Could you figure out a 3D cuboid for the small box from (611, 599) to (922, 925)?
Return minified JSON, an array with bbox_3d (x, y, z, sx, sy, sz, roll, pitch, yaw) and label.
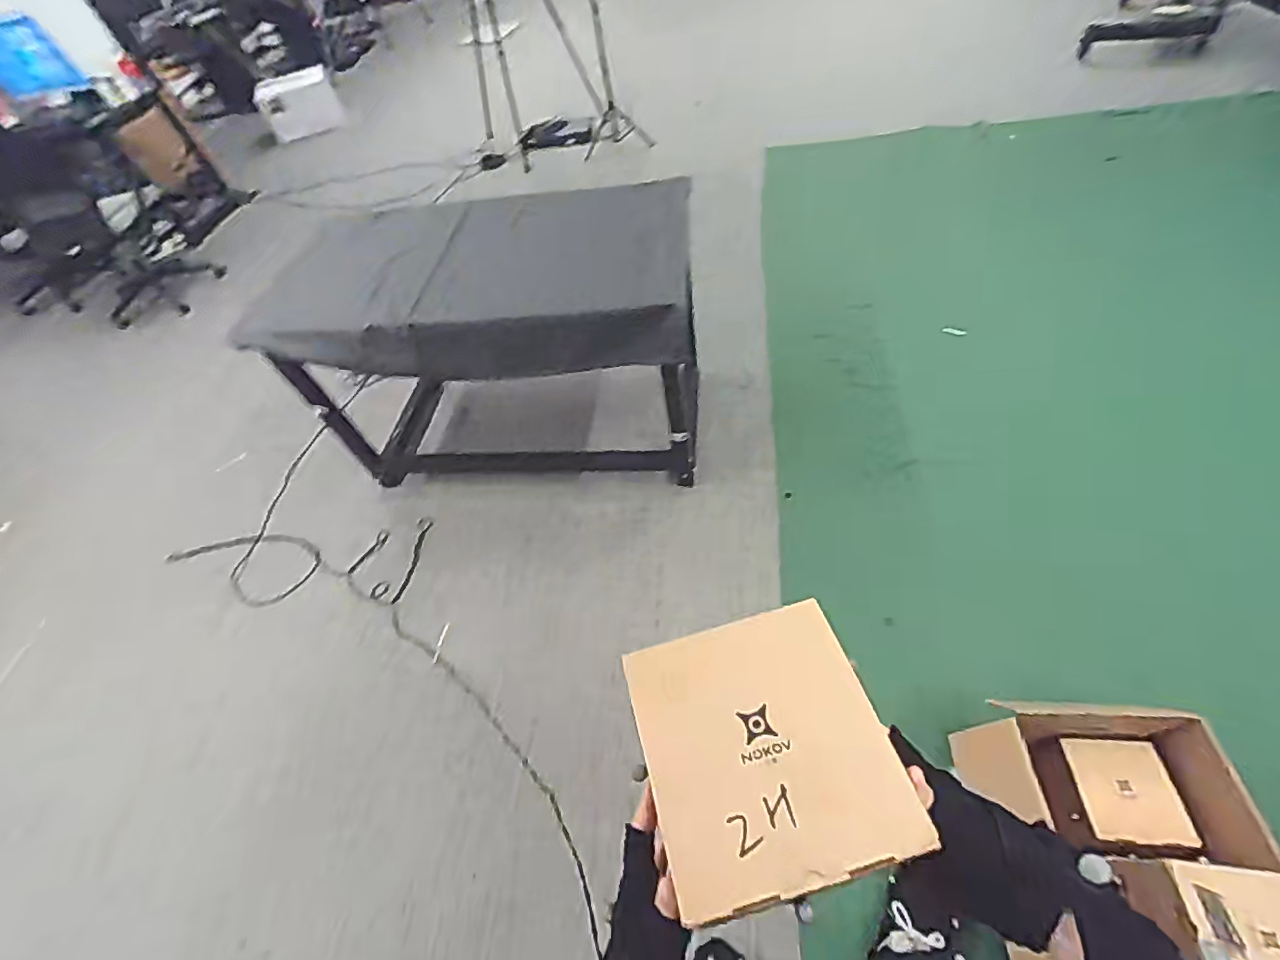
[{"bbox_3d":[0.084,0.229,0.436,0.168,0.176,0.179,-17,50,-2],"label":"small box"}]
